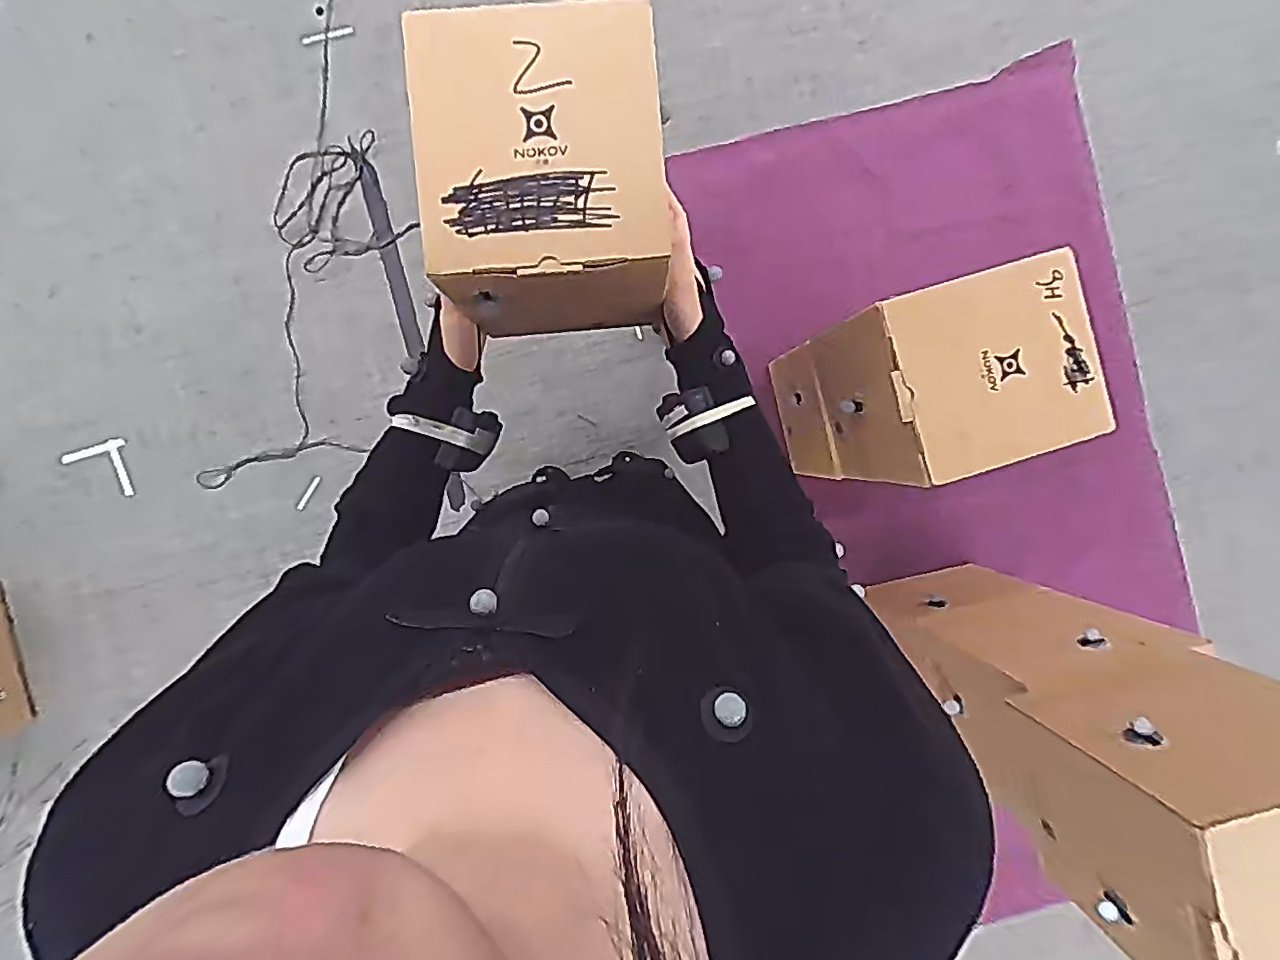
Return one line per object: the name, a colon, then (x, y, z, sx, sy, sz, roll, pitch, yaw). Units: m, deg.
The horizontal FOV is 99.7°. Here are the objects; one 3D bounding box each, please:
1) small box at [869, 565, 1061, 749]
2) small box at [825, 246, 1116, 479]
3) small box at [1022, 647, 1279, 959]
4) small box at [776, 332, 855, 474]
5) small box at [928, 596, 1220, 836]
small box: (0.427, 0.222, 0.722, 0.179, 0.176, 0.168, -12, 93, -2)
small box: (0.304, -0.102, 0.541, 0.179, 0.176, 0.168, -16, 93, -2)
small box: (0.423, 0.246, 0.396, 0.179, 0.176, 0.168, -16, 94, -2)
small box: (0.290, -0.106, 0.704, 0.179, 0.176, 0.168, -14, 93, -2)
small box: (0.438, 0.231, 0.559, 0.179, 0.176, 0.168, -12, 93, -1)
